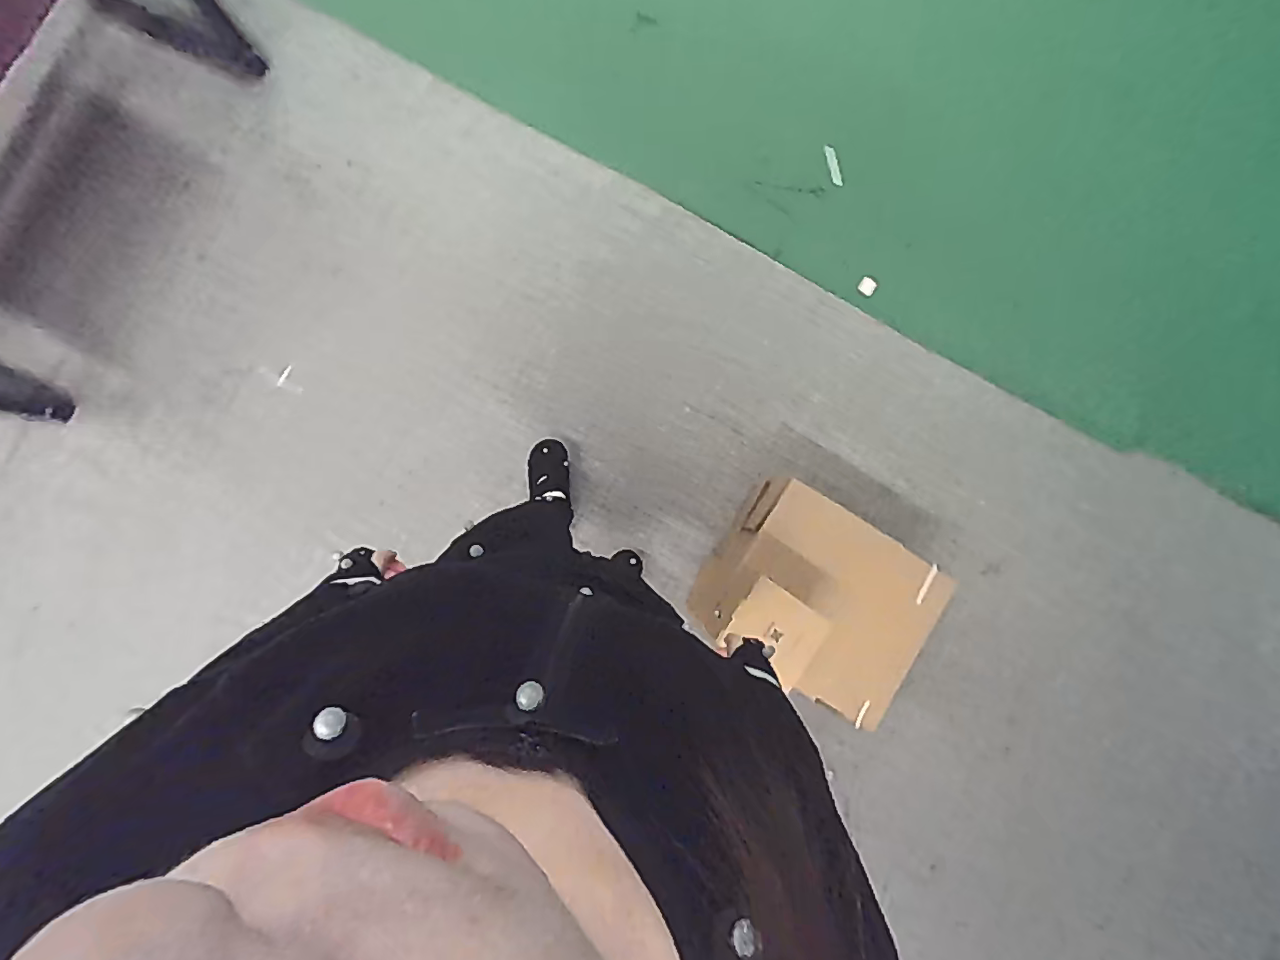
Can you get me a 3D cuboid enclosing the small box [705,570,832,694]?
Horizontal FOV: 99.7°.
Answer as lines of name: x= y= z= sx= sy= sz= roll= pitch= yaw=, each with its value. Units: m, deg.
small box: x=0.254 y=0.302 z=1.123 sx=0.179 sy=0.176 sz=0.168 roll=37 pitch=88 yaw=-1
